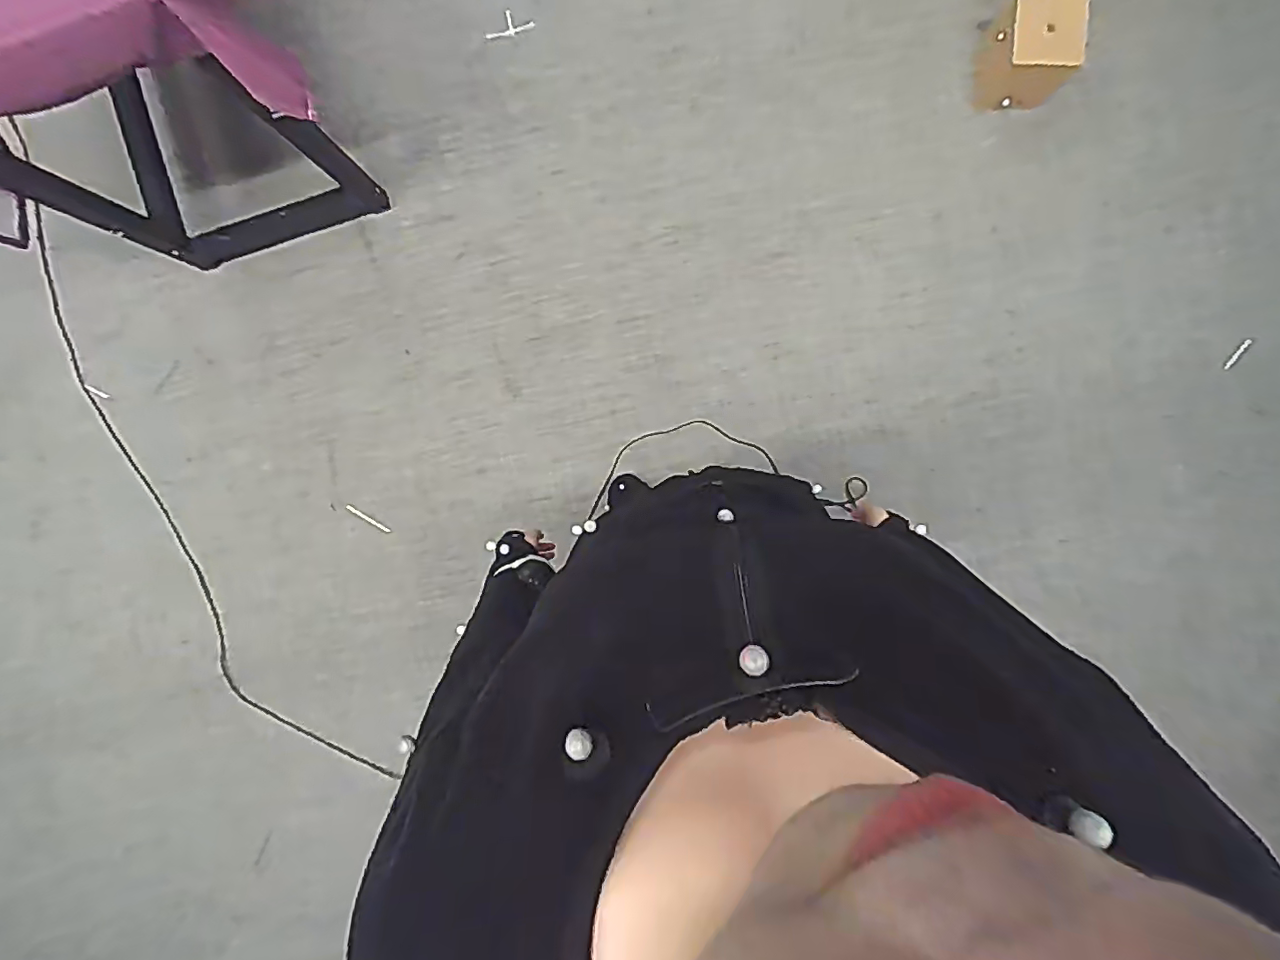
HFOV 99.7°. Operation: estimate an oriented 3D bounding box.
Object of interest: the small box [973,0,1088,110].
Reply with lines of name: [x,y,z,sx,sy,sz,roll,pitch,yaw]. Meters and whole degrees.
small box: [0.961,-1.066,1.345,0.168,0.176,0.179,4,93,3]
